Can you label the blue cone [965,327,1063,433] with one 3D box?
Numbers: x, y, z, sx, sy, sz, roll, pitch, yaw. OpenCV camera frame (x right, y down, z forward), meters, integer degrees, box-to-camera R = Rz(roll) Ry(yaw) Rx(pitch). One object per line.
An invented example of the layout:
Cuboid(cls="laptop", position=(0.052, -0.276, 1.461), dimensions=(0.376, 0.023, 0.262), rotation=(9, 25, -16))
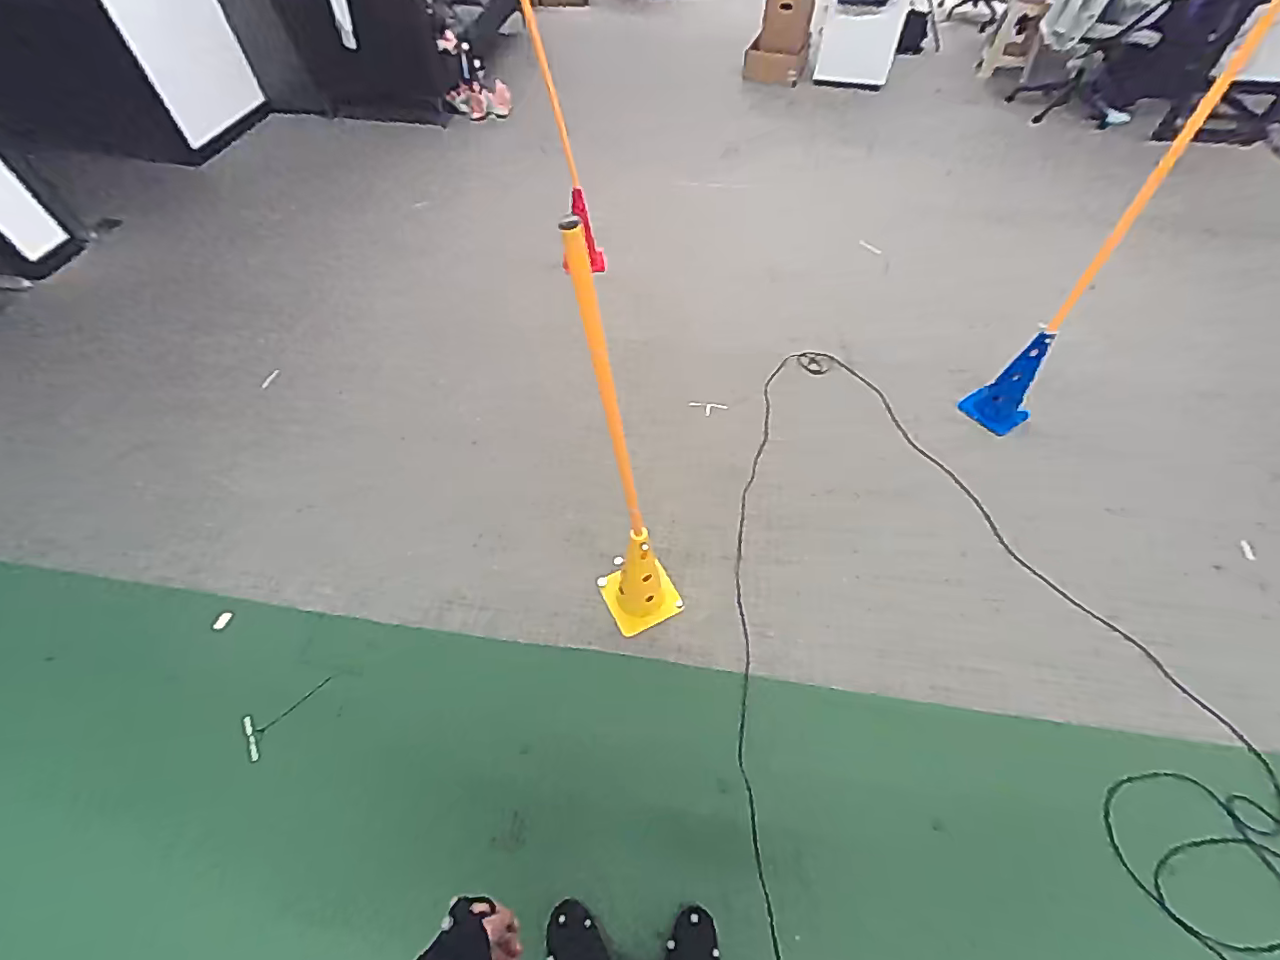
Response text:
Cuboid(cls="blue cone", position=(1.324, -0.367, 1.876), dimensions=(0.193, 0.380, 0.192), rotation=(-29, 57, -22))
